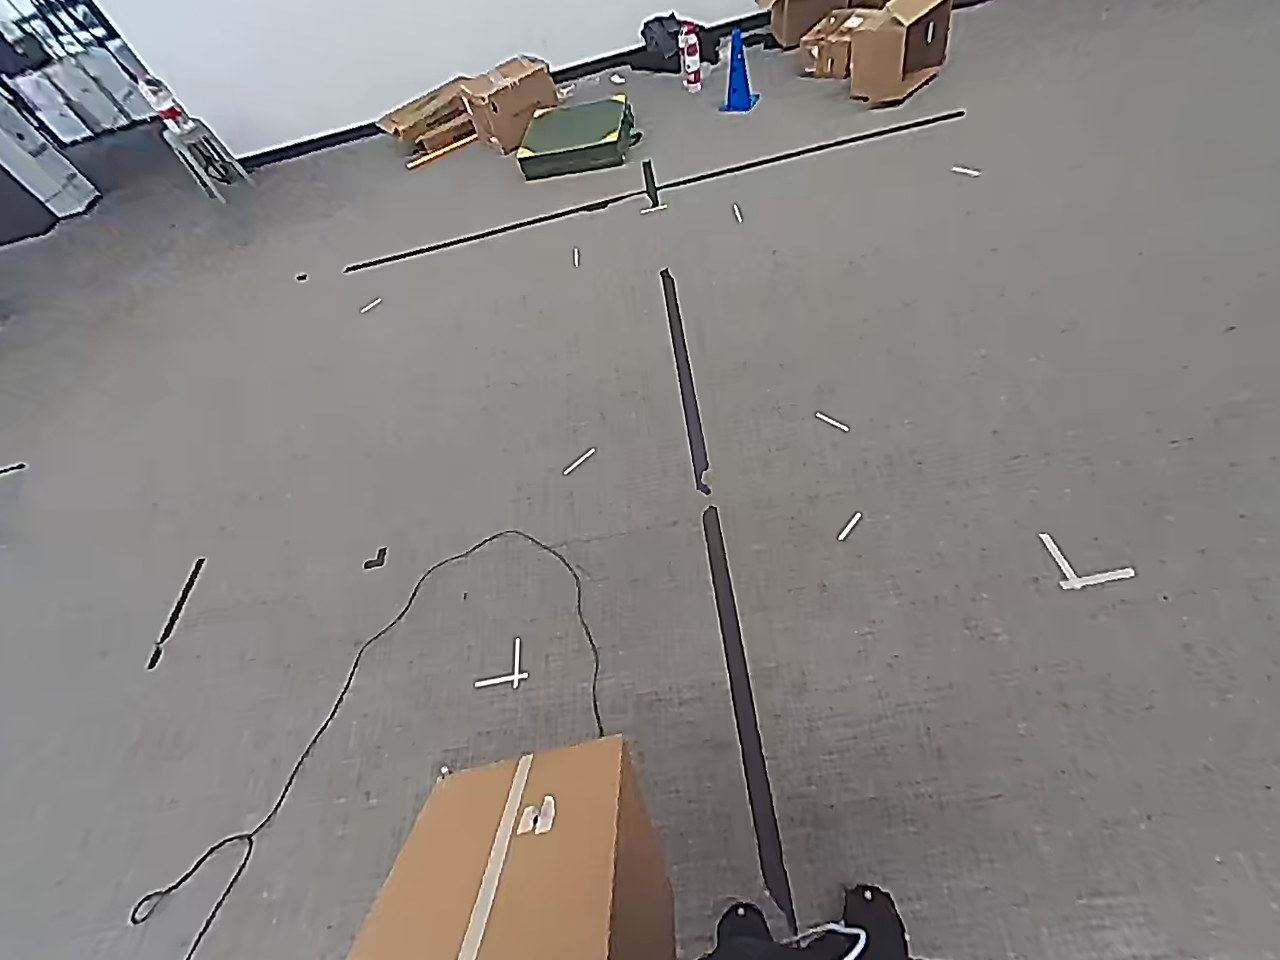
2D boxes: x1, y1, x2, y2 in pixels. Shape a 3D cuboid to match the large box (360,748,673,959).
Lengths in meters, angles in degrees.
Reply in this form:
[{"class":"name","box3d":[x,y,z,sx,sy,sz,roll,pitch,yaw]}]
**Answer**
[{"class":"large box","box3d":[-0.138,0.646,0.703,0.320,0.320,0.408,-15,11,4]}]
